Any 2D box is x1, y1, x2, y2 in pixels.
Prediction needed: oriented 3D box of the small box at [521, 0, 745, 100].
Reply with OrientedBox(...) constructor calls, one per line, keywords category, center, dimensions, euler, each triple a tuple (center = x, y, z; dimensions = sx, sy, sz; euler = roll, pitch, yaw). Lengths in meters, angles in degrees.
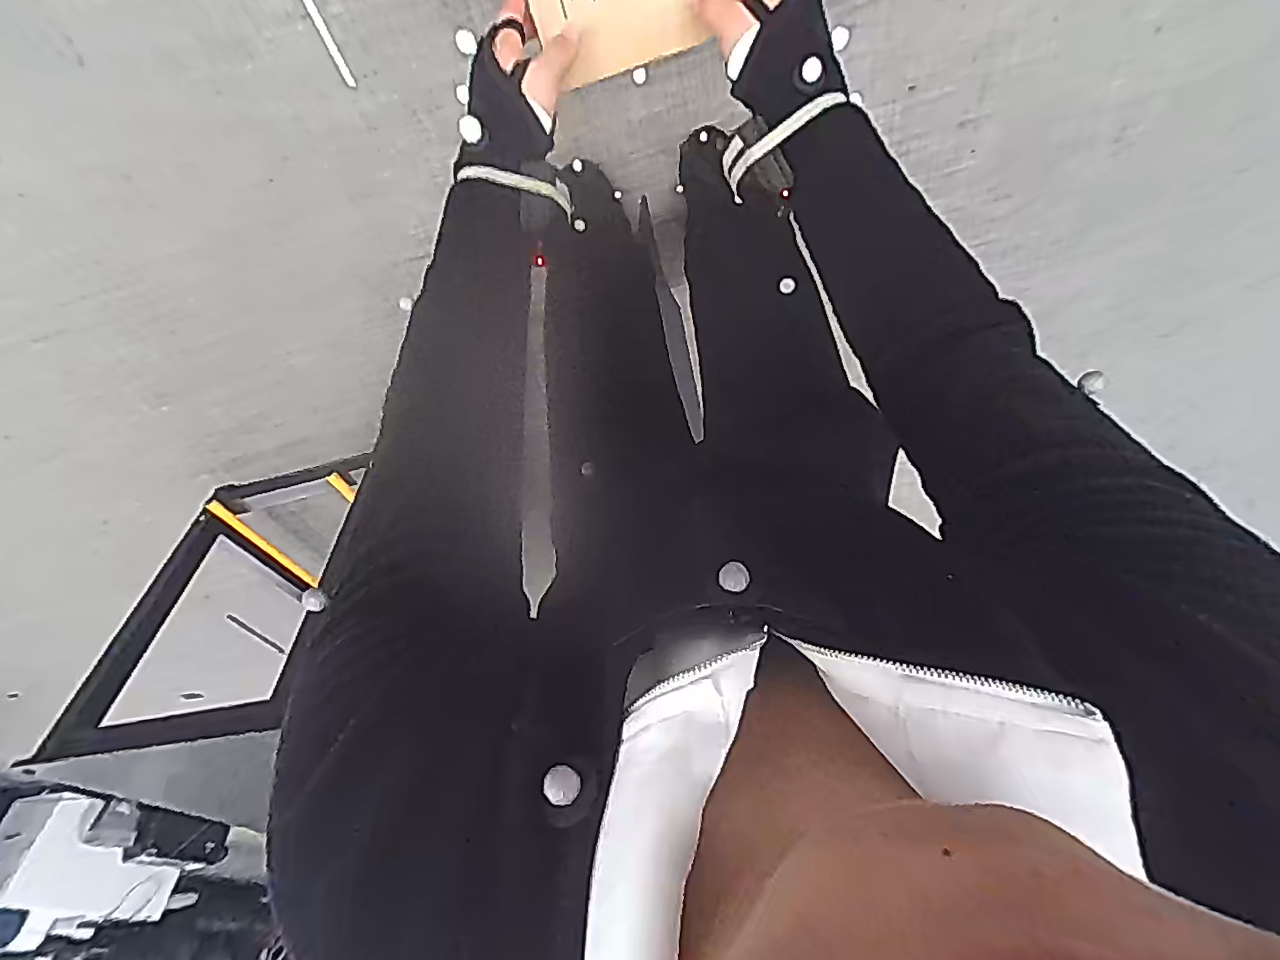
OrientedBox(category="small box", center=(-0.013, -0.461, 0.480), dimensions=(0.179, 0.176, 0.168), euler=(-12, 127, 11))
